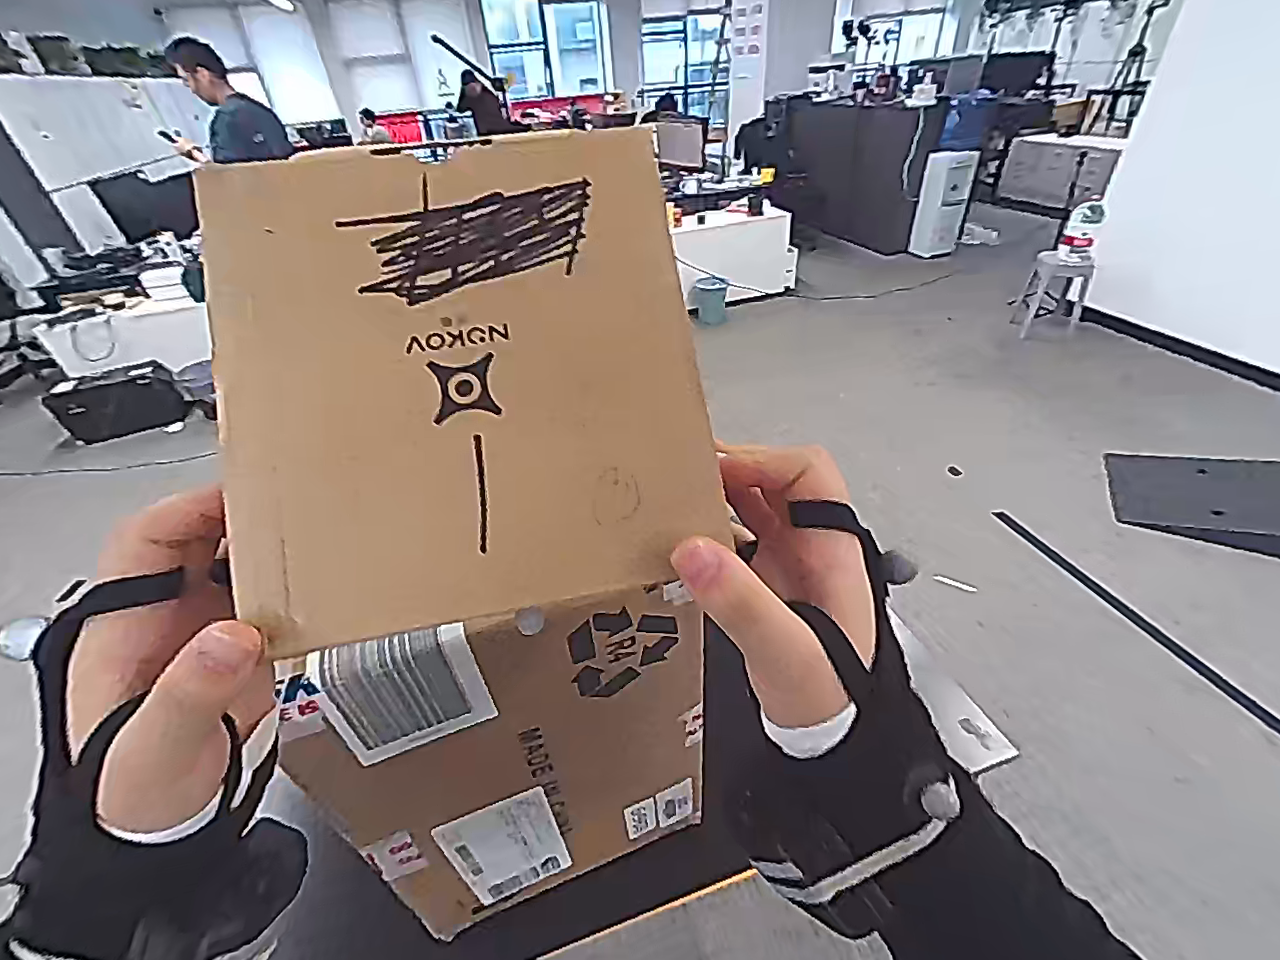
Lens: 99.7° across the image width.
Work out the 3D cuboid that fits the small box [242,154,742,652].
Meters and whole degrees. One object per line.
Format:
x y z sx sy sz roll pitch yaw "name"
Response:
-0.063 -0.025 0.279 0.168 0.176 0.179 -9 82 -6 "small box"
